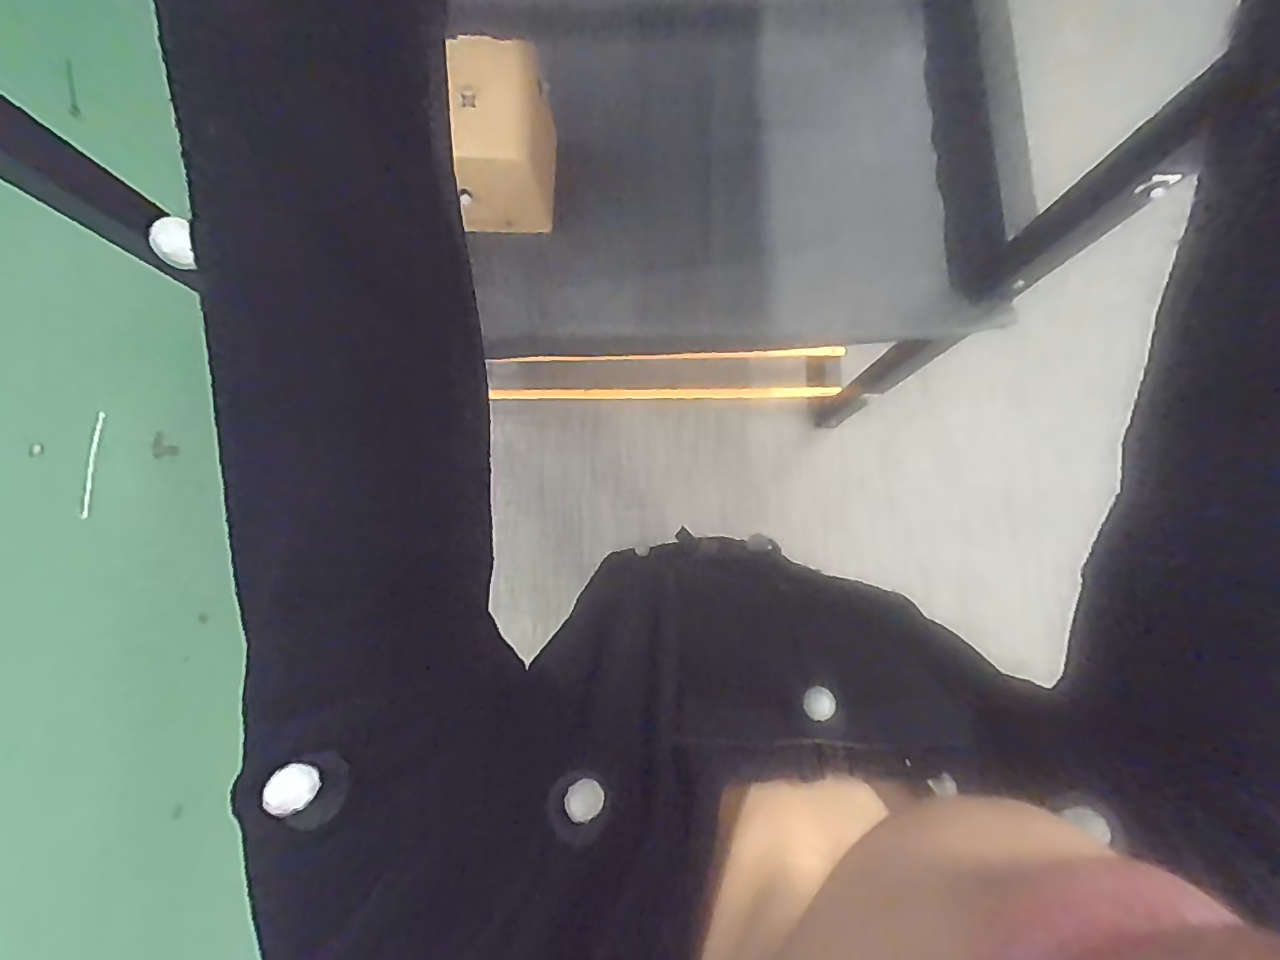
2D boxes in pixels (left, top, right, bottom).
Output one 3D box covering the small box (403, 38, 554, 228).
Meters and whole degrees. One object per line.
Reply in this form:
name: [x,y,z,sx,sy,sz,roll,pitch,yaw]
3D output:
small box: [-0.222,-0.492,0.788,0.168,0.176,0.179,1,81,1]
